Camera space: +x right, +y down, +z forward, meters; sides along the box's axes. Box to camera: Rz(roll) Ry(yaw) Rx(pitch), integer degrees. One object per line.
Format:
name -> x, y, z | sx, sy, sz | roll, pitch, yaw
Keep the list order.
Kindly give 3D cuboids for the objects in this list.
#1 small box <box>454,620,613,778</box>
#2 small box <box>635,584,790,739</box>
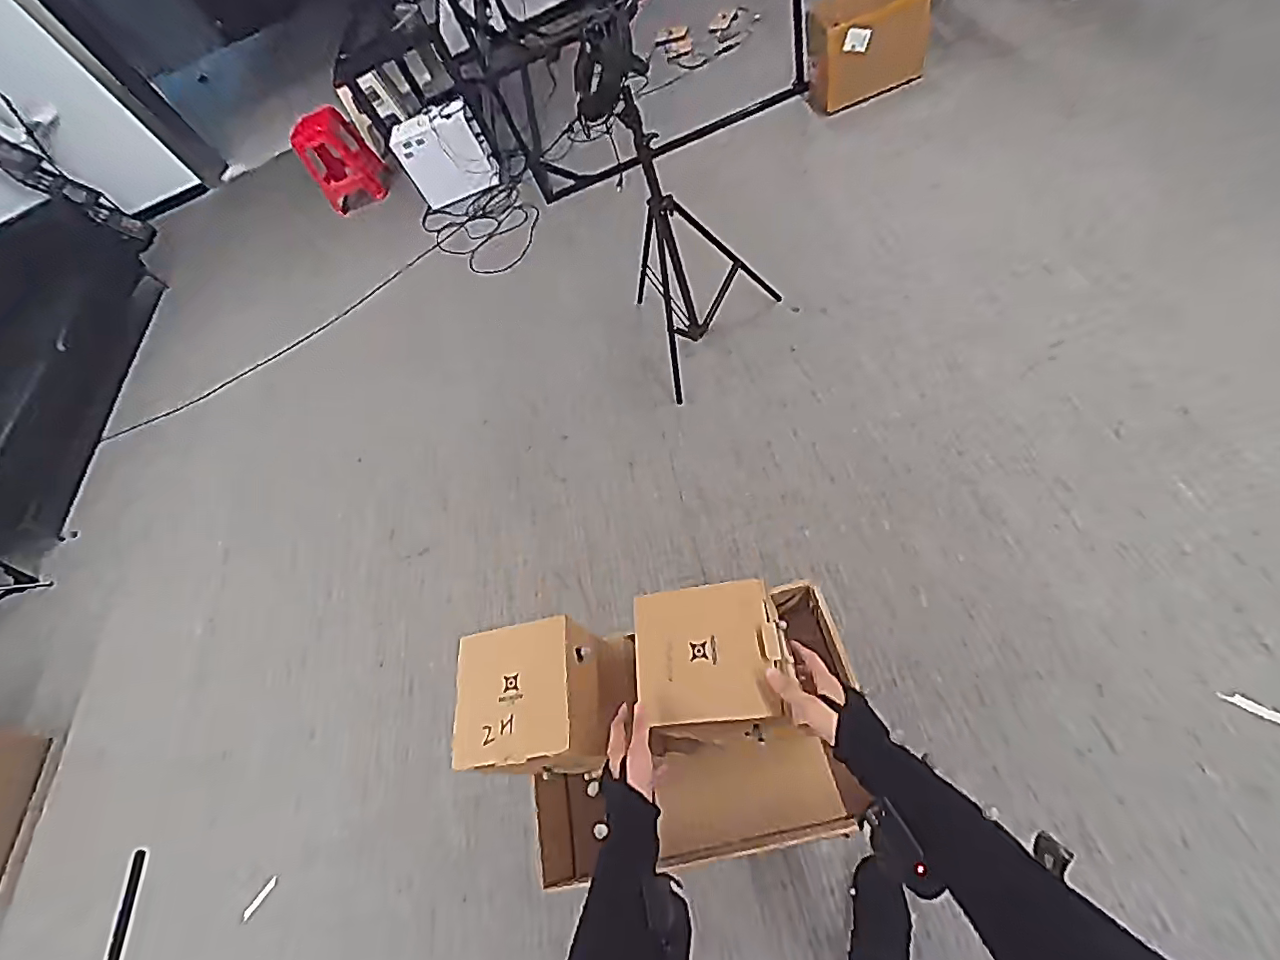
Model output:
small box -> -0.146, 0.323, 0.783 | 0.168, 0.176, 0.179 | -15, 58, 11
small box -> 0.103, 0.254, 0.736 | 0.179, 0.176, 0.168 | -12, 59, 15
